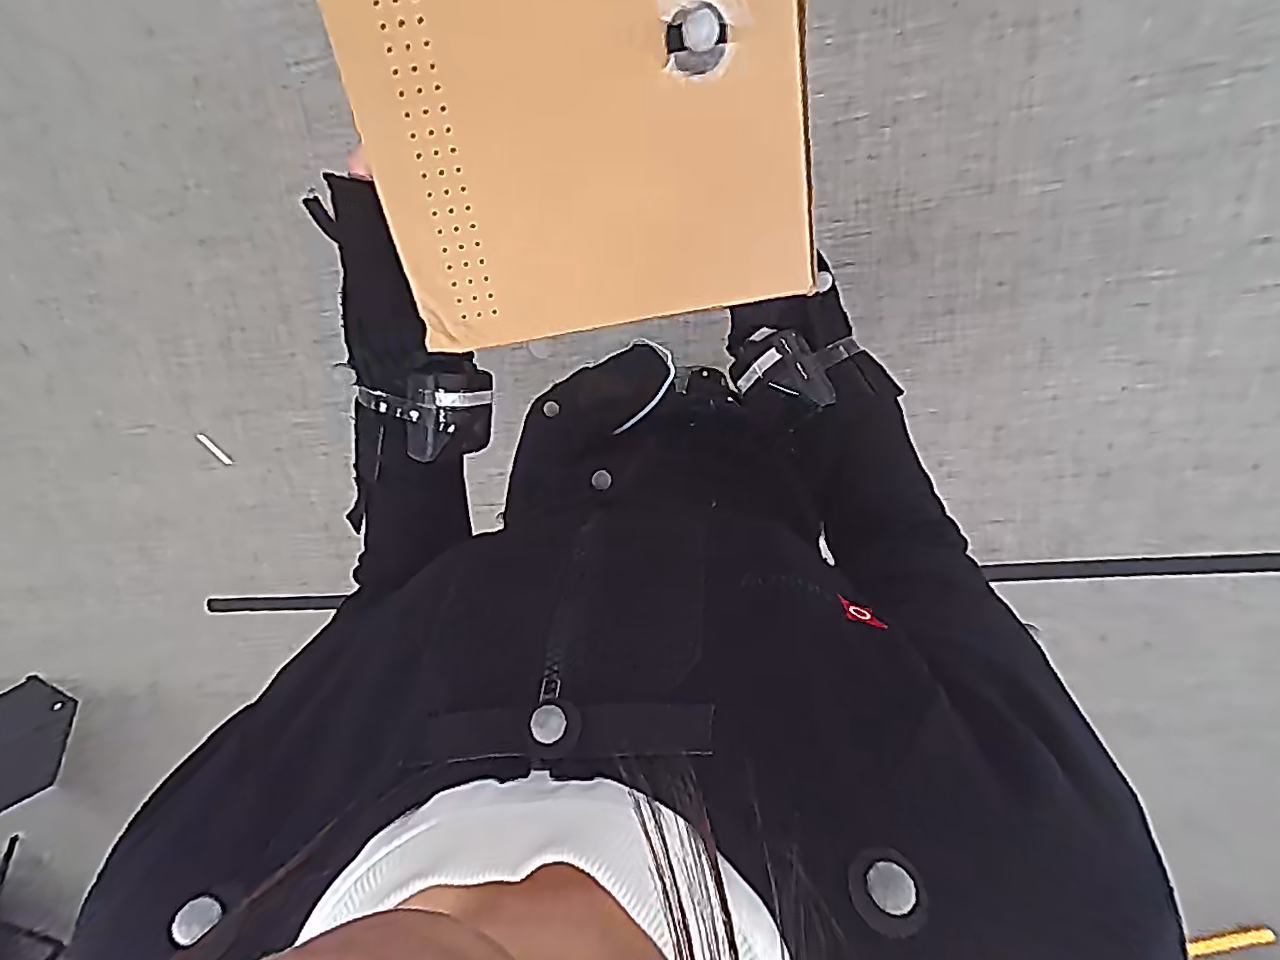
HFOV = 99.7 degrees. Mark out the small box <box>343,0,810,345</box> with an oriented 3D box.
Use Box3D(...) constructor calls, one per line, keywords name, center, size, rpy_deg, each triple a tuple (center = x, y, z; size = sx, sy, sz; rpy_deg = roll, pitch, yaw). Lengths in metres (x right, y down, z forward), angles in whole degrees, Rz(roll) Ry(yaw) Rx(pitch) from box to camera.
Box3D(name="small box", center=(-0.028, -0.180, 0.278), size=(0.176, 0.168, 0.179), rpy_deg=(-10, 112, -1))
